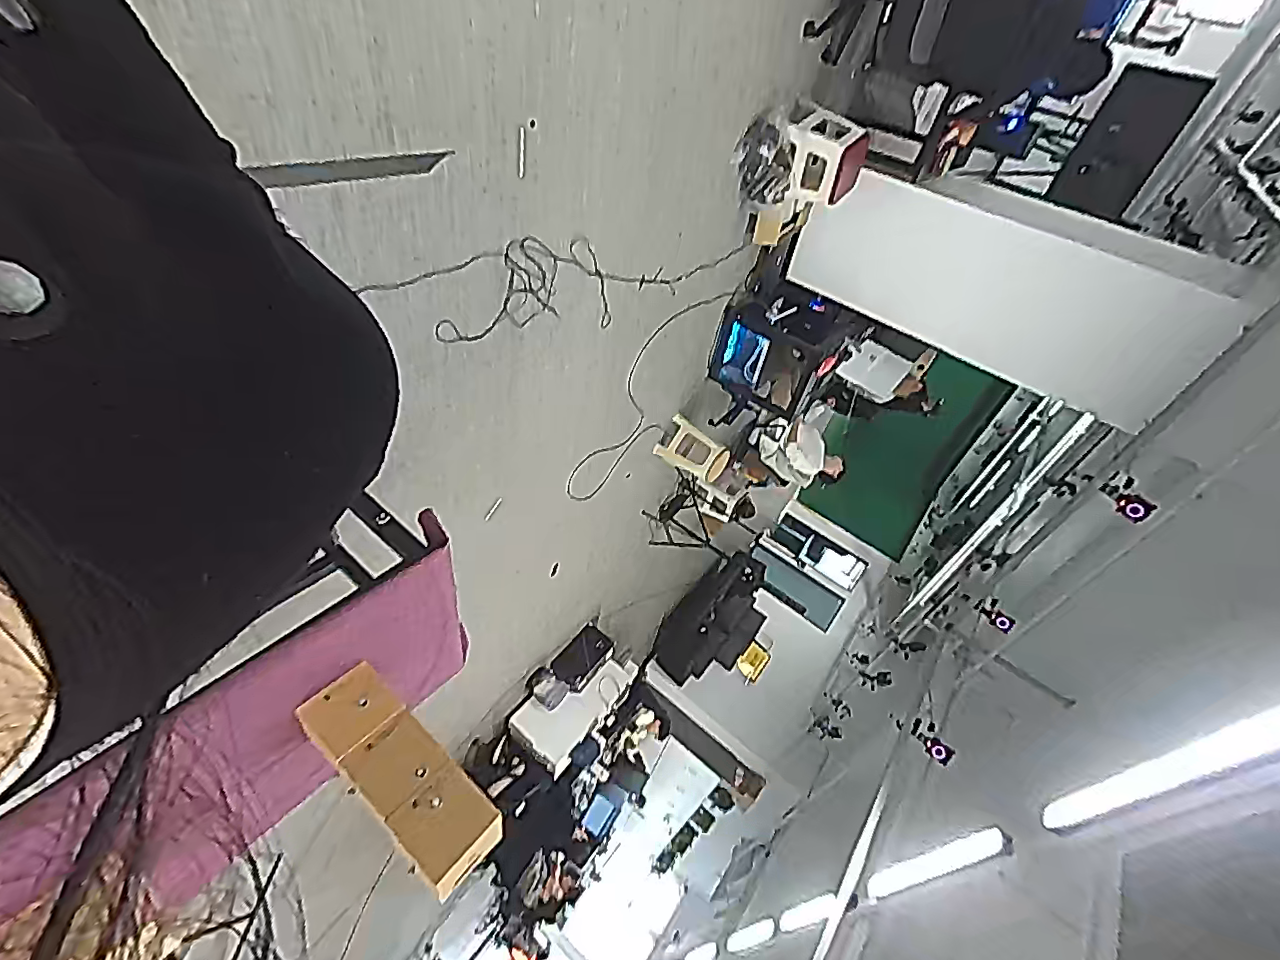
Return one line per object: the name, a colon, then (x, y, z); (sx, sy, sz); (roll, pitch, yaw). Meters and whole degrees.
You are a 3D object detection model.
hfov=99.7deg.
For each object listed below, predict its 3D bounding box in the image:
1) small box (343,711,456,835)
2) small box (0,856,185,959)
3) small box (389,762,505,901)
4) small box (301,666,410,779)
small box: (-0.537, 0.661, 1.224); (0.168, 0.176, 0.179); (-38, 154, -40)
small box: (-0.969, 0.822, 0.965); (0.168, 0.176, 0.179); (-35, 151, -45)
small box: (-0.411, 0.748, 1.162); (0.168, 0.176, 0.179); (-37, 152, -41)
small box: (-0.664, 0.572, 1.277); (0.168, 0.176, 0.179); (-37, 153, -41)
